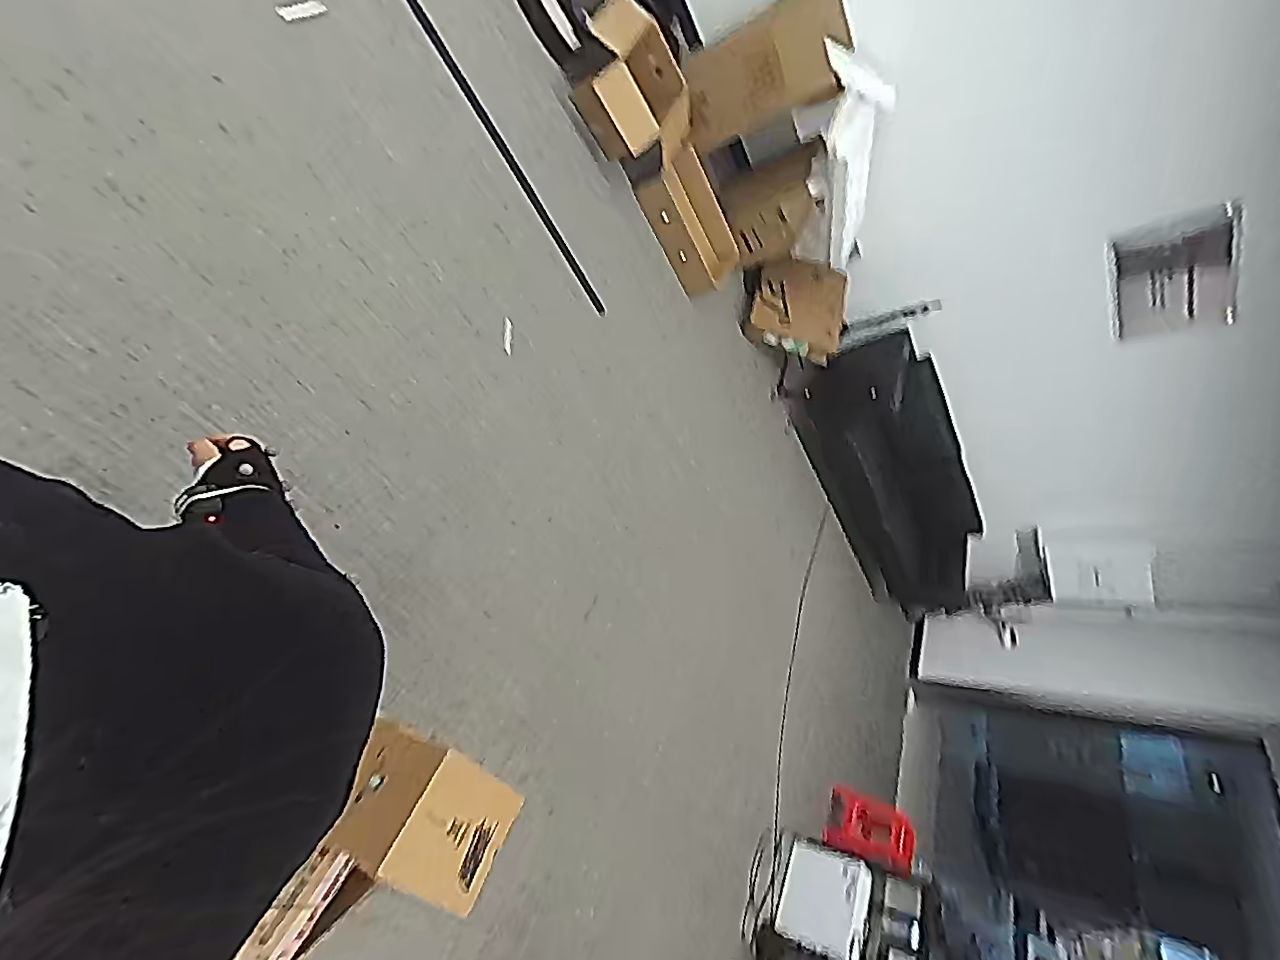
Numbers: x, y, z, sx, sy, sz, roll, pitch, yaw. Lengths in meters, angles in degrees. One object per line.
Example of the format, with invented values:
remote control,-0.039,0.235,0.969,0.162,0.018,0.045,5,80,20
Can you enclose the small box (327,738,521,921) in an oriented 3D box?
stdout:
small box,-0.324,0.517,0.821,0.179,0.176,0.168,53,46,-28

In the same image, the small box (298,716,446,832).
small box,-0.441,0.529,0.937,0.179,0.176,0.168,51,48,-31
